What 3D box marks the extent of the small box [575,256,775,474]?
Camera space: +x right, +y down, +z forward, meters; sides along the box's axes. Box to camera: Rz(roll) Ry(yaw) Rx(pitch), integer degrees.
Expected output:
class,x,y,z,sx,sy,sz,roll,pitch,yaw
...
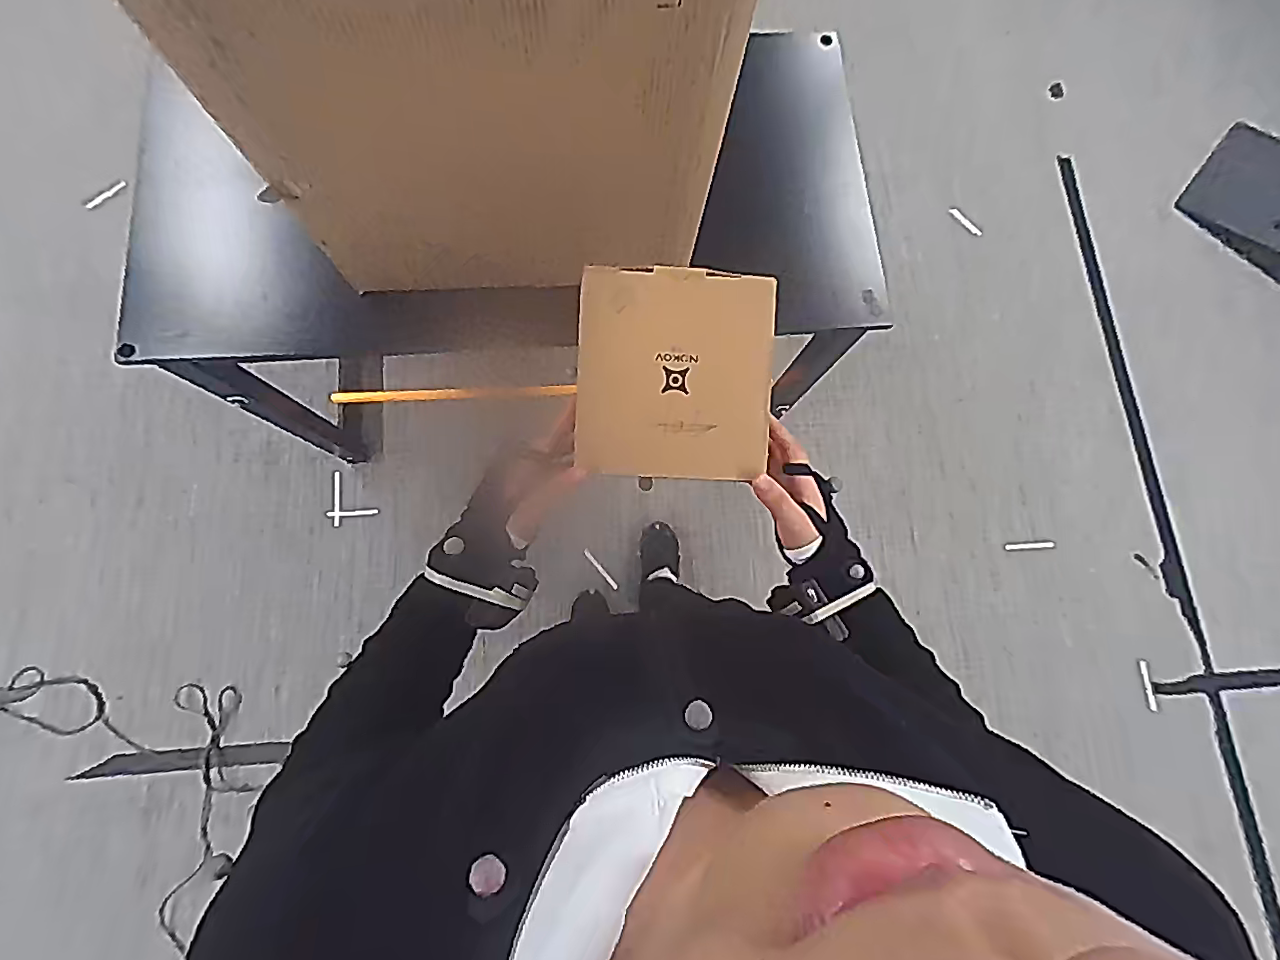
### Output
class,x,y,z,sx,sy,sz,roll,pitch,yaw
small box,0.025,-0.097,0.533,0.168,0.176,0.179,2,92,-3
